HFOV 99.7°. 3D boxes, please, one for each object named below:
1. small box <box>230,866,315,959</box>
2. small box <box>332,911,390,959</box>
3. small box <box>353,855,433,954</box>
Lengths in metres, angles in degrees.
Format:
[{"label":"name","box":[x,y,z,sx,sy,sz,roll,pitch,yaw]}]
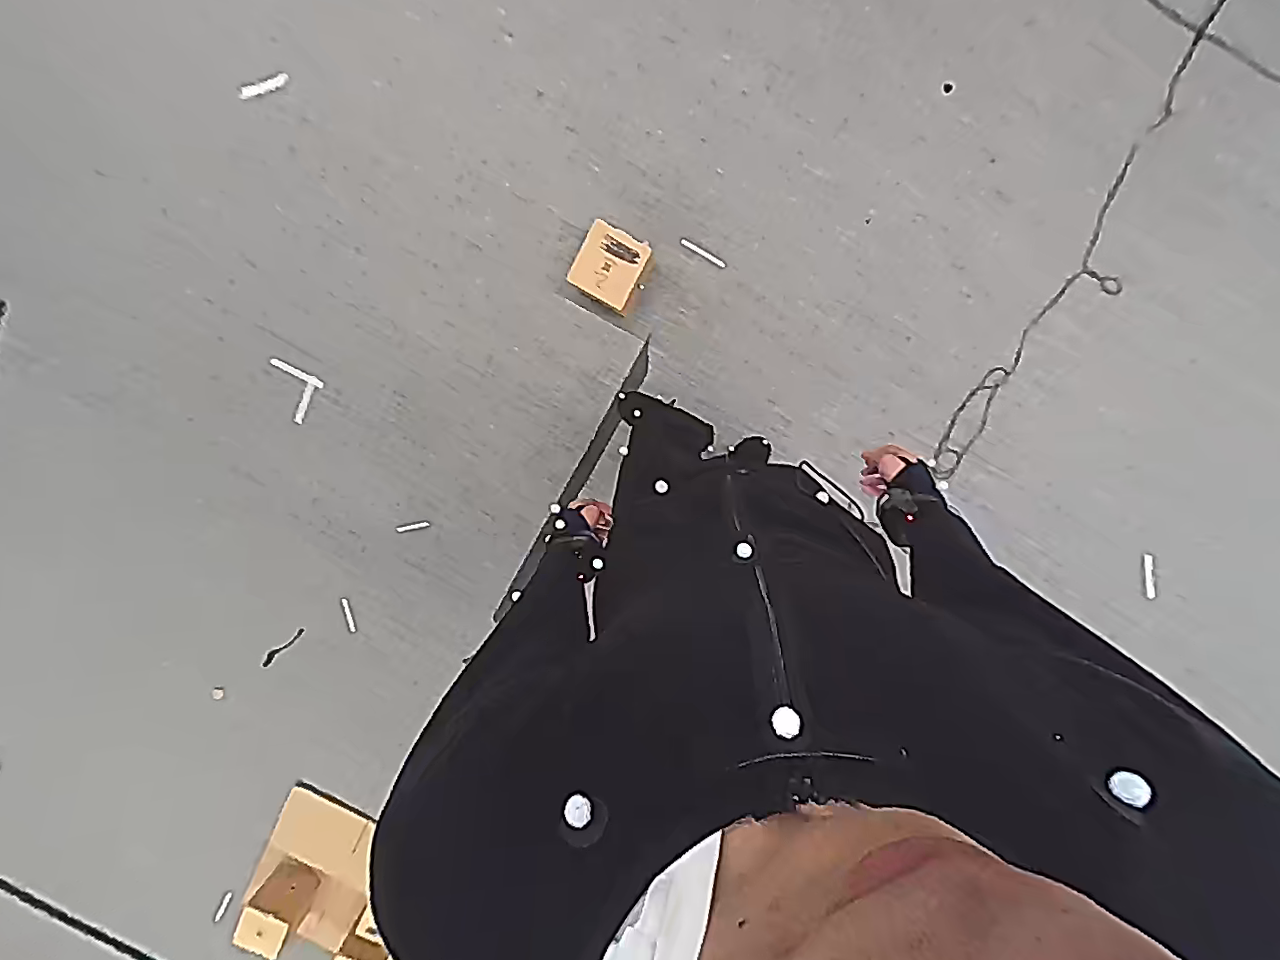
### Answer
[{"label":"small box","box":[-1.294,1.532,1.914,0.168,0.176,0.179,24,101,-1]},{"label":"small box","box":[-0.993,1.697,1.919,0.168,0.176,0.179,27,101,-2]},{"label":"small box","box":[-0.844,1.459,1.866,0.168,0.176,0.179,27,100,-2]}]
